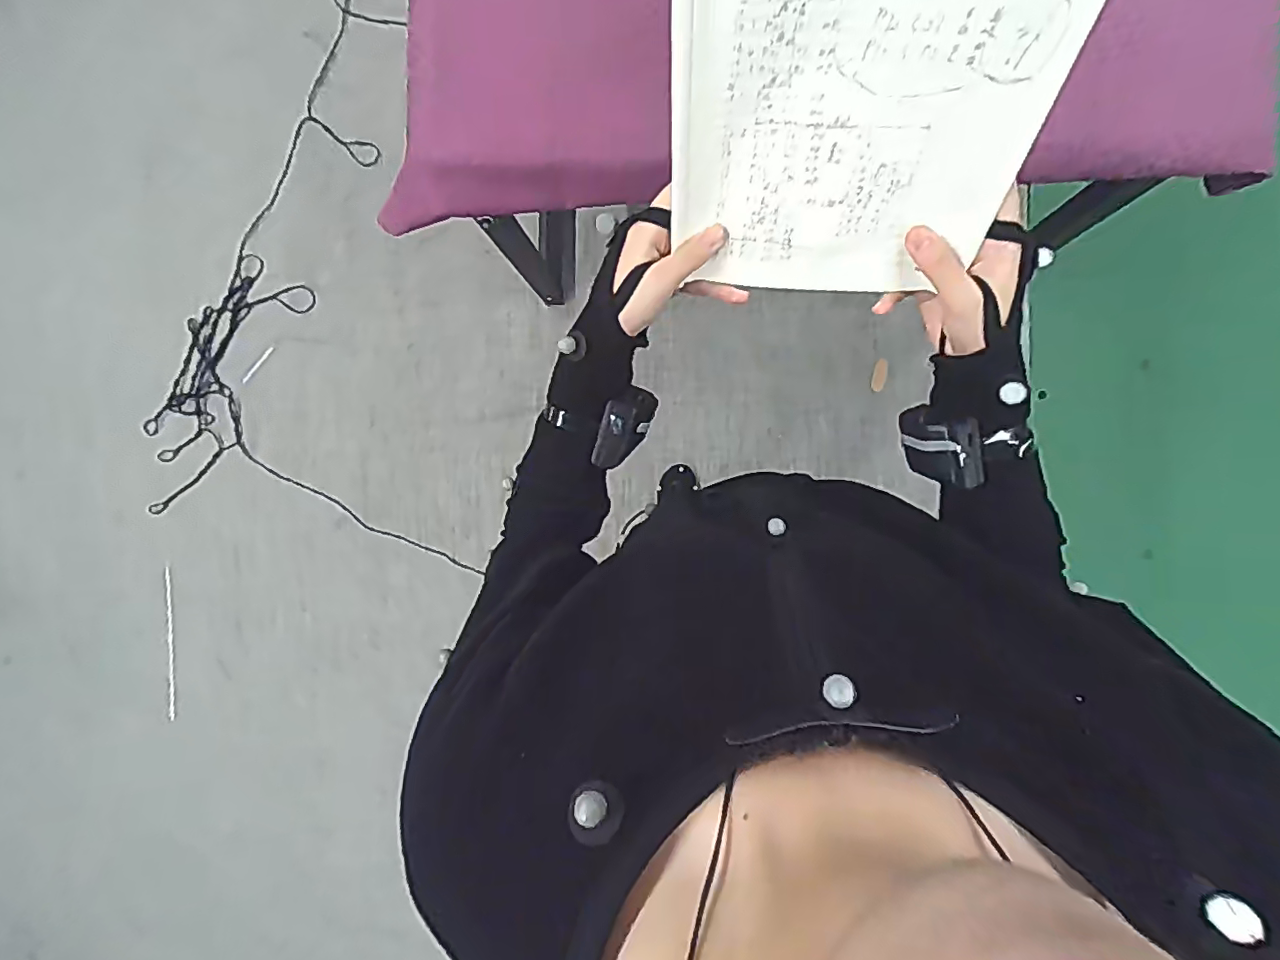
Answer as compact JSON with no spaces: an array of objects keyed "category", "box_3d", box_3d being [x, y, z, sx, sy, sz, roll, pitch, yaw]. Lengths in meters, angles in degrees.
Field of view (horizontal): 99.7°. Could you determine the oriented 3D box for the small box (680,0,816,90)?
[{"category":"small box","box_3d":[0.140,-0.649,0.710,0.168,0.176,0.179,1,90,5]}]
